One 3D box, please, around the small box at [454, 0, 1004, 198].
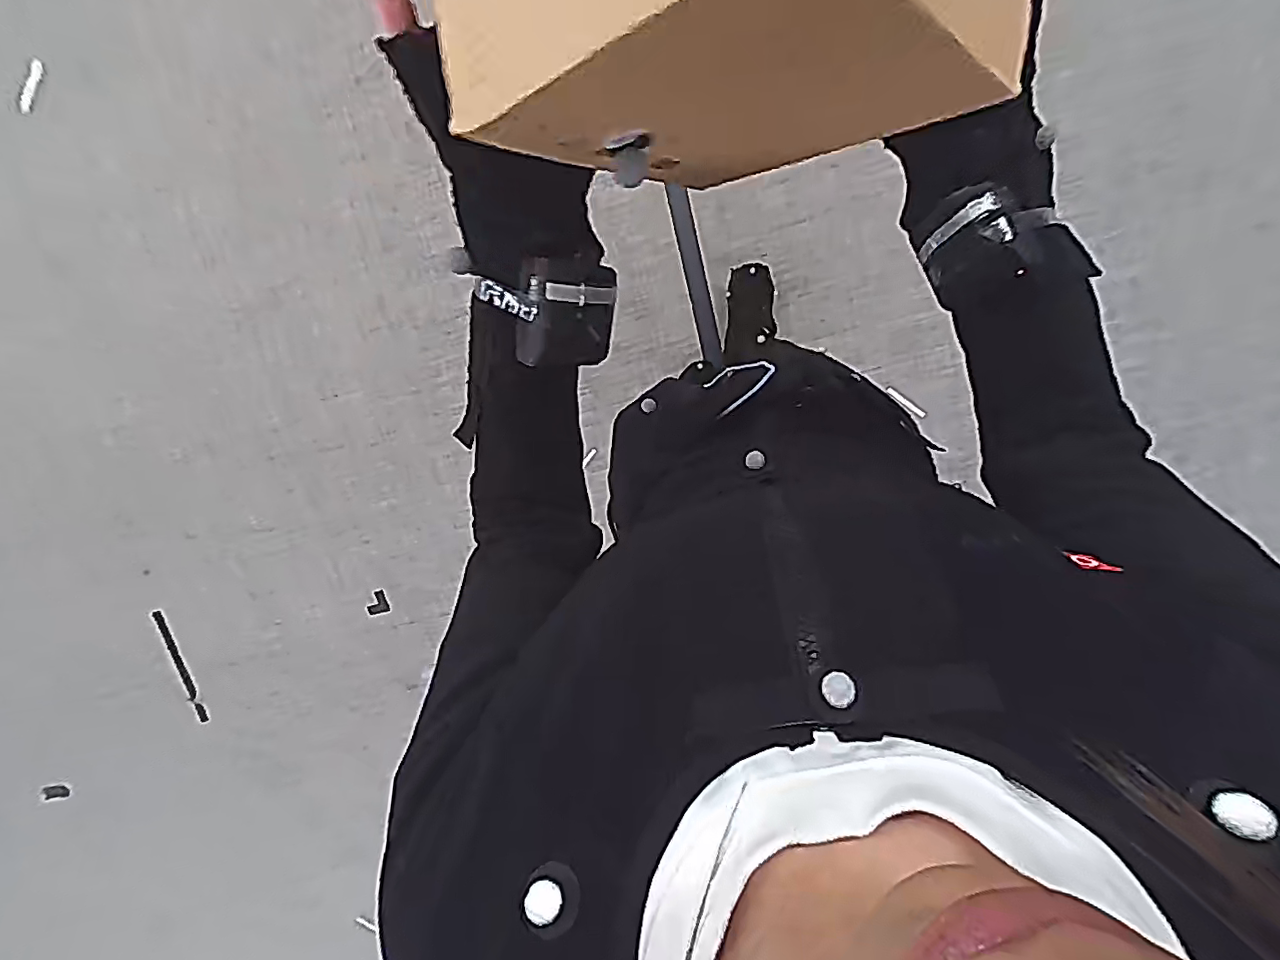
[{"bbox_3d":[0.033,-0.237,0.217,0.176,0.168,0.179,10,109,43],"label":"small box"}]
